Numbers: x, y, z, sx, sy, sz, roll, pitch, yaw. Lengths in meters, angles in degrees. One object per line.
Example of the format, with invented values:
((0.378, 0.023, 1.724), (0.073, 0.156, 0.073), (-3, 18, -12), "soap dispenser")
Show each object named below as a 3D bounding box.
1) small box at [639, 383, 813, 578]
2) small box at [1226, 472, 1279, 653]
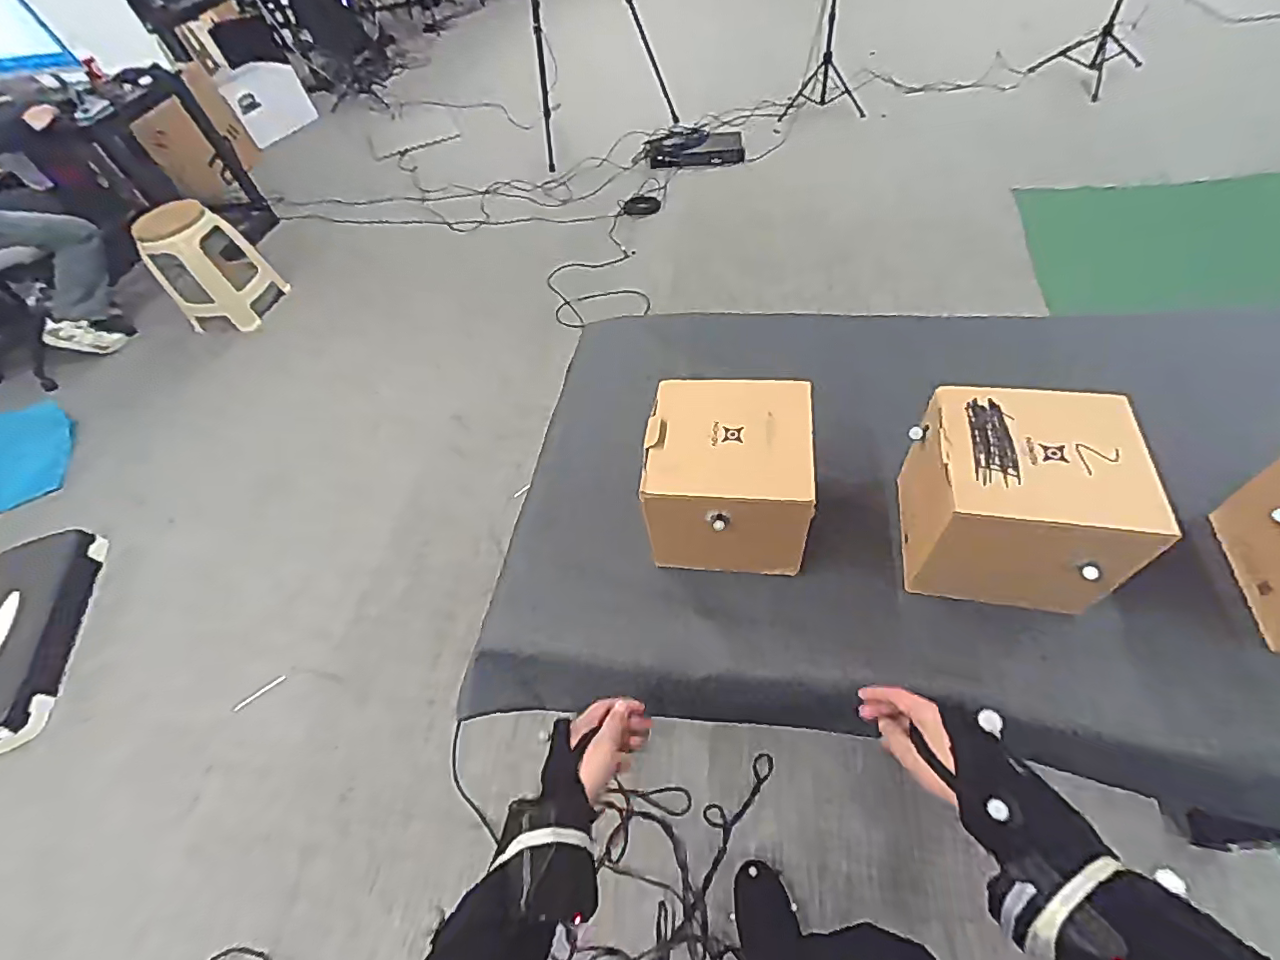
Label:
((0.107, 0.004, 0.643), (0.179, 0.176, 0.168), (3, 55, 12), "small box")
((0.702, 0.071, 0.487), (0.179, 0.176, 0.168), (5, 54, 13), "small box")
